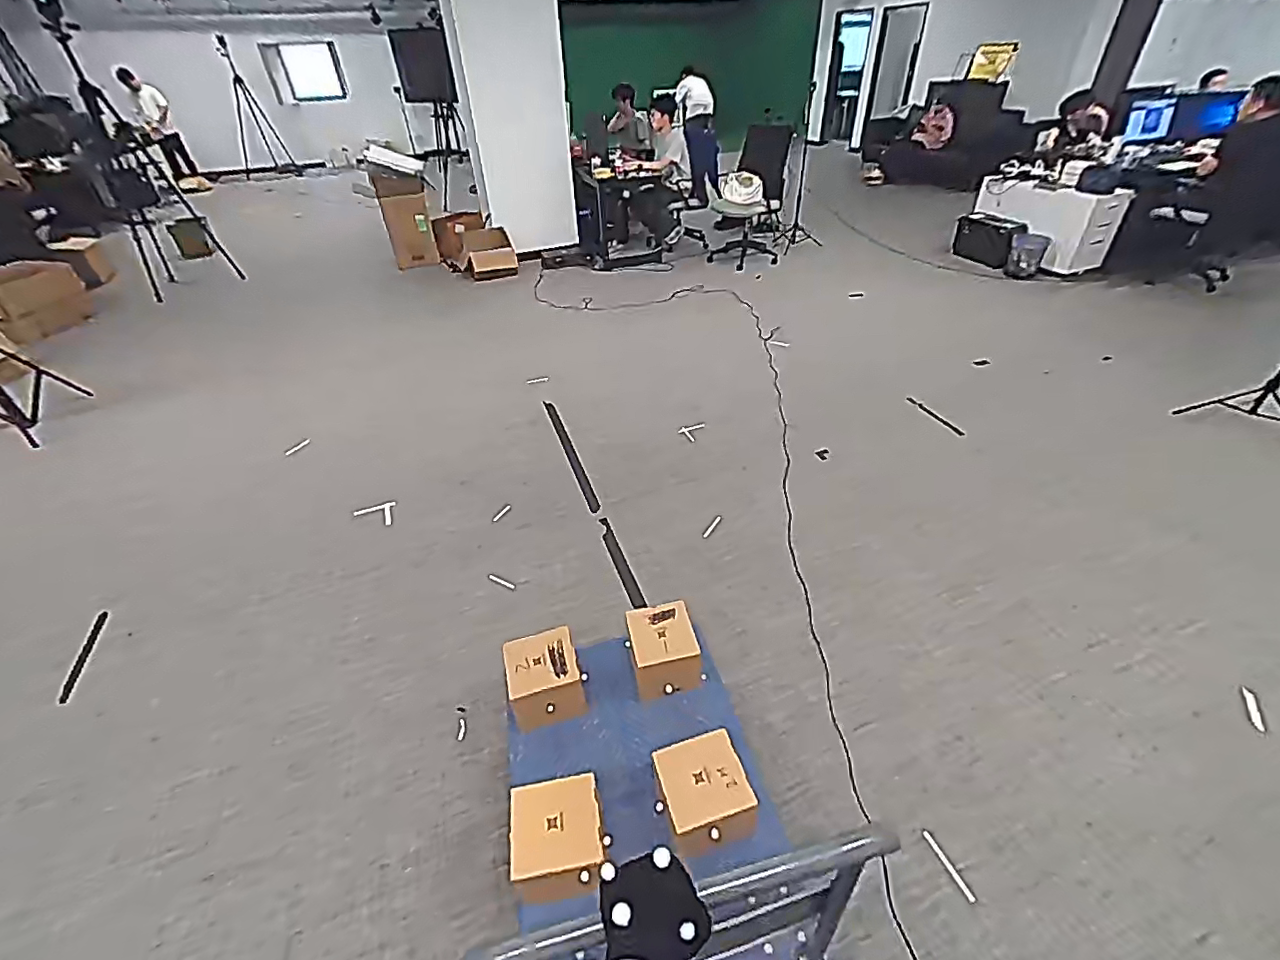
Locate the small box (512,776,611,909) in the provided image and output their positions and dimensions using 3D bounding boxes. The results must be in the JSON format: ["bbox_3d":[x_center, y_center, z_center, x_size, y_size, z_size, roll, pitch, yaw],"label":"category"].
[{"bbox_3d":[-0.161,0.748,1.115,0.179,0.176,0.168,-8,38,-8],"label":"small box"}]

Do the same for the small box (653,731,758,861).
[{"bbox_3d":[0.137,0.685,1.169,0.179,0.176,0.168,-13,39,-12],"label":"small box"}]

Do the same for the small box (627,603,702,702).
[{"bbox_3d":[0.061,0.464,1.455,0.168,0.176,0.179,-10,40,-8],"label":"small box"}]
